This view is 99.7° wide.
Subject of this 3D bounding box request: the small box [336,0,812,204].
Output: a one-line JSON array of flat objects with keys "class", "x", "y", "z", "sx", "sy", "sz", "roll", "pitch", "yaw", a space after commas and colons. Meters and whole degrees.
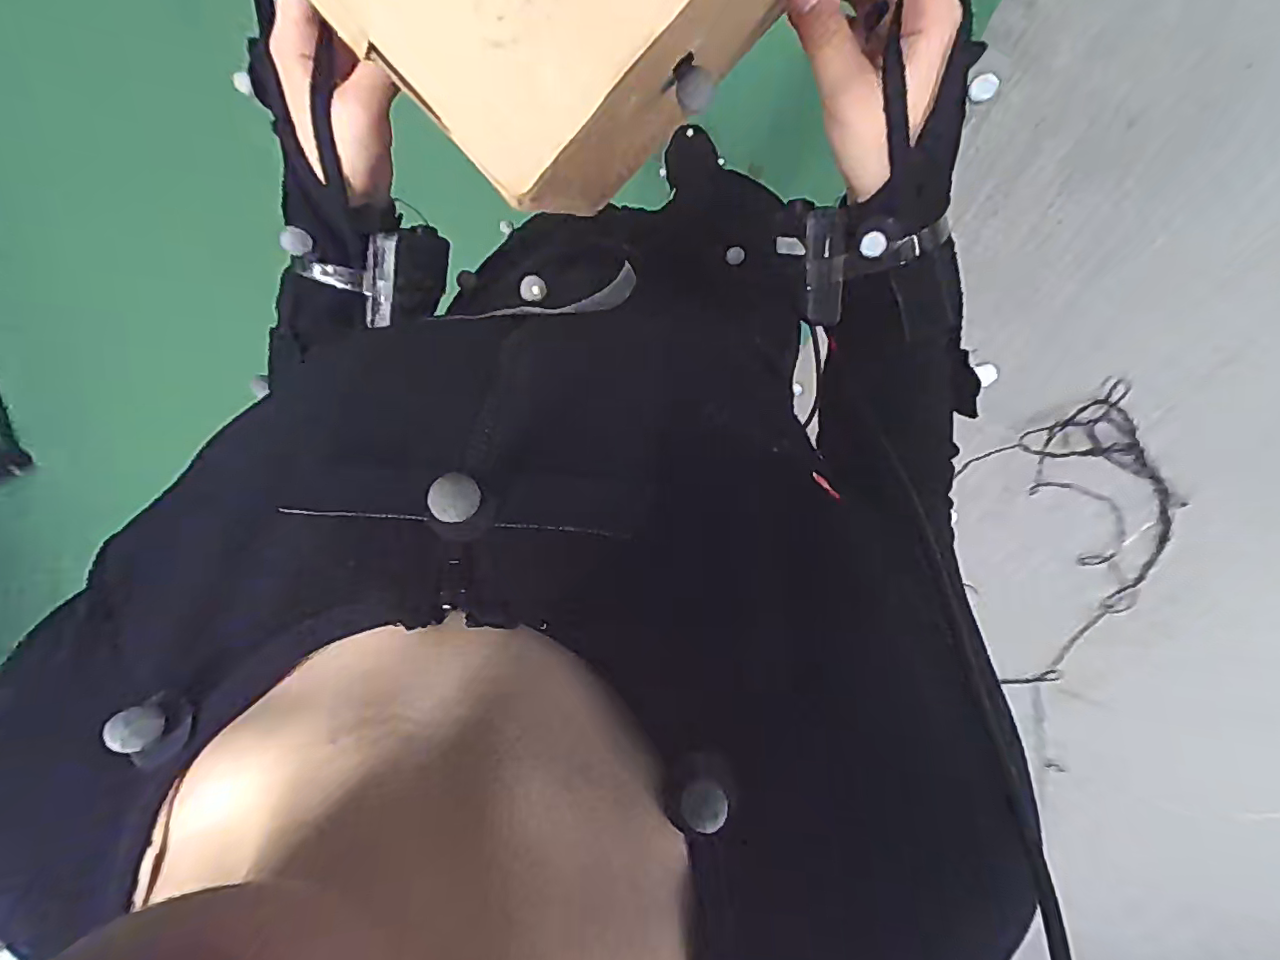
[{"class": "small box", "x": -0.020, "y": -0.226, "z": 0.197, "sx": 0.179, "sy": 0.176, "sz": 0.168, "roll": -38, "pitch": 107, "yaw": 20}]
